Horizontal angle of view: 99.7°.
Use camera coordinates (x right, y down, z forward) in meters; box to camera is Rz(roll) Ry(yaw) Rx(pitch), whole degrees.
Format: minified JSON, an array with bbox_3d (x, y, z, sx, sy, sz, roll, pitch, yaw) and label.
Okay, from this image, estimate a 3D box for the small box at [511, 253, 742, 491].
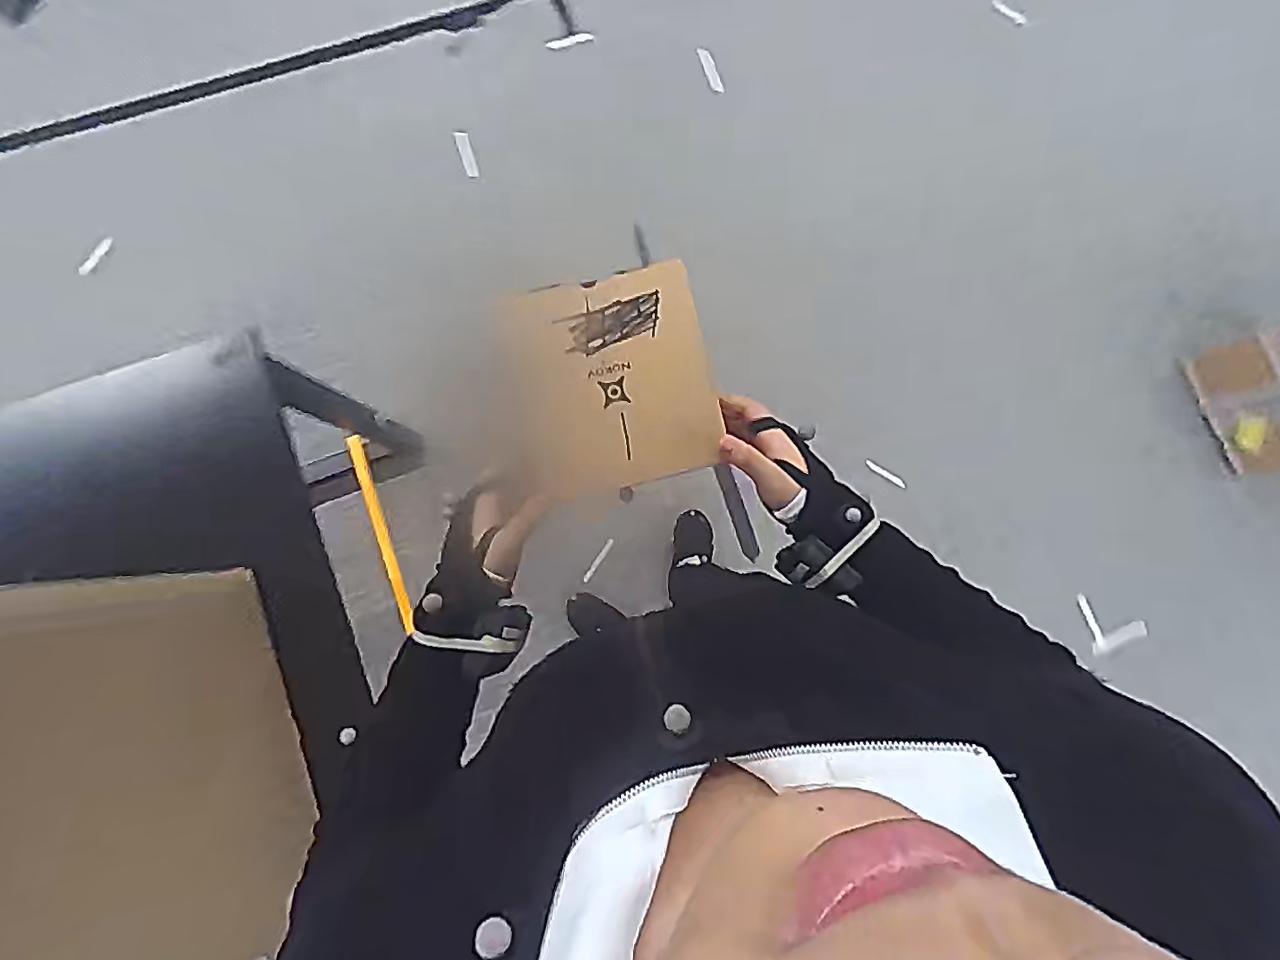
[{"bbox_3d":[-0.017,-0.089,0.525,0.168,0.176,0.179,-13,91,-5],"label":"small box"}]
